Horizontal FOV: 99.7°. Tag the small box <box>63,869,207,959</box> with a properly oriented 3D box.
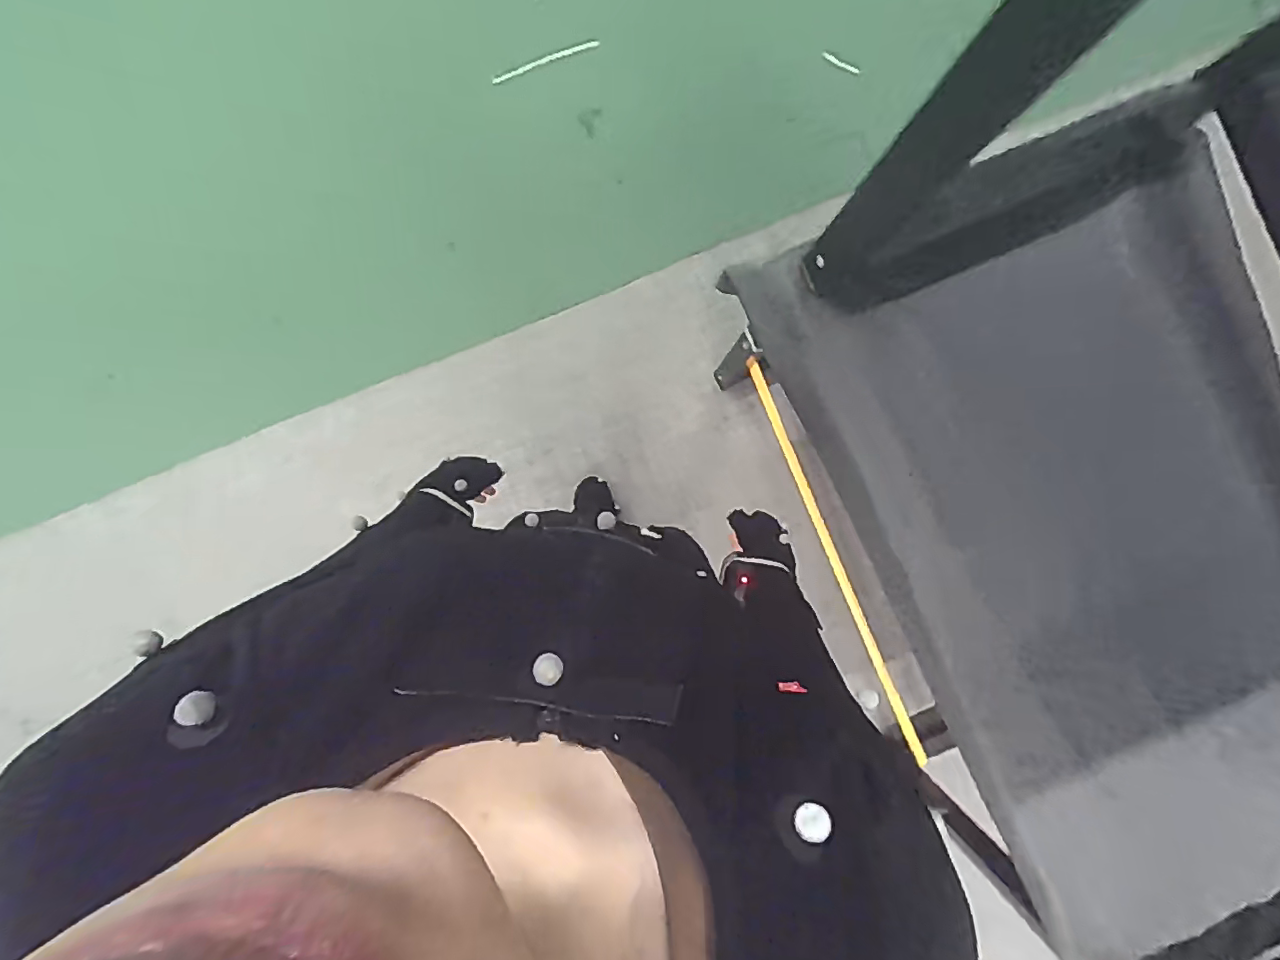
[{"bbox_3d":[-1.276,1.157,1.379,0.179,0.176,0.168,-29,91,-2],"label":"small box"}]
